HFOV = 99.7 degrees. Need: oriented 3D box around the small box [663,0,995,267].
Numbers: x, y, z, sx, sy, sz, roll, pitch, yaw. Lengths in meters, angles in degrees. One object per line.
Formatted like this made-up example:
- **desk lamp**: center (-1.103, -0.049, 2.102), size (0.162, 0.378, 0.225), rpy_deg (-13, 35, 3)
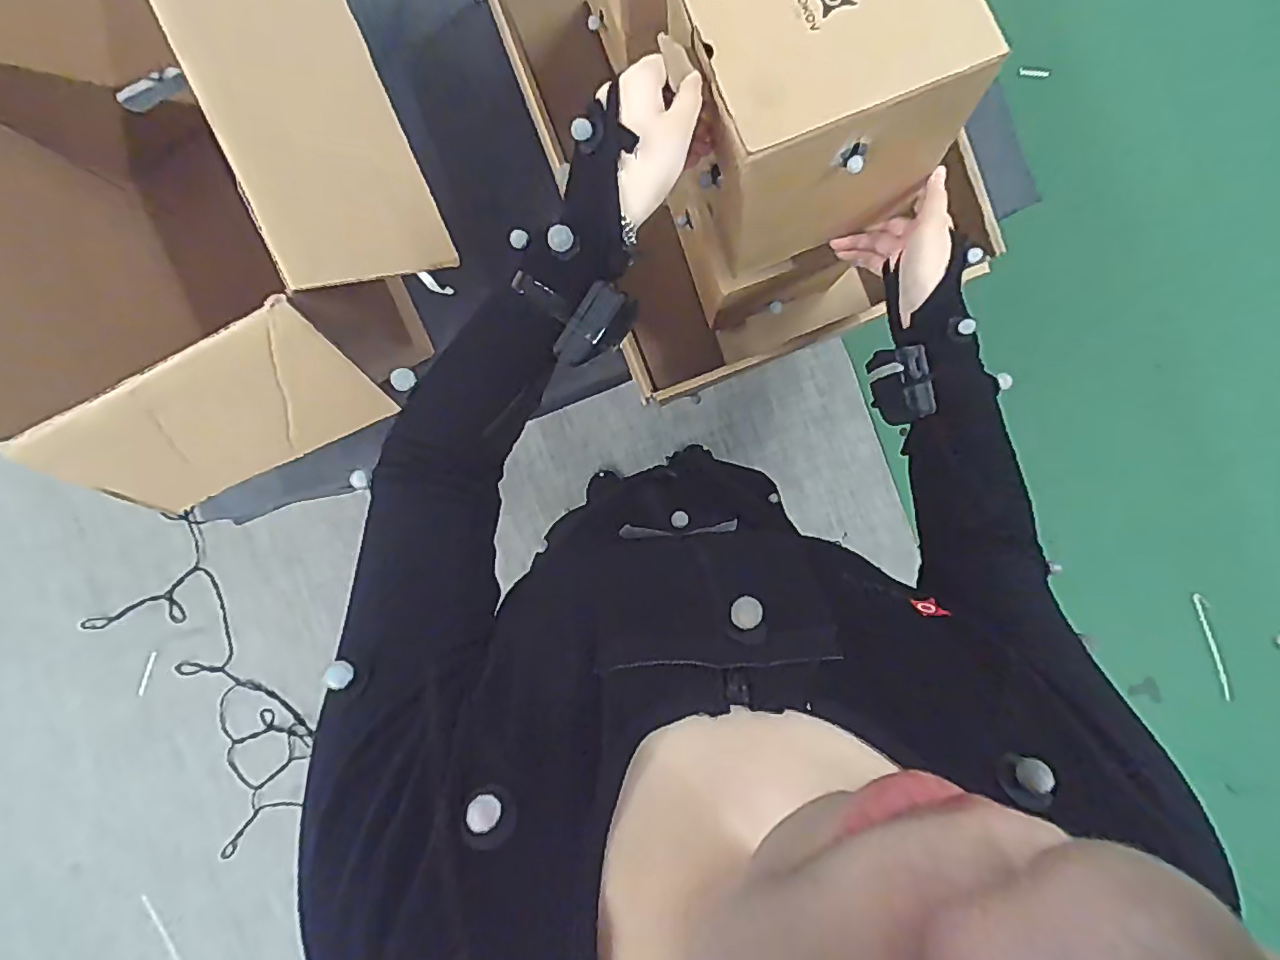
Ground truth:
- **small box**: center (0.130, -0.305, 0.439), size (0.179, 0.176, 0.168), rpy_deg (-20, 84, 4)
